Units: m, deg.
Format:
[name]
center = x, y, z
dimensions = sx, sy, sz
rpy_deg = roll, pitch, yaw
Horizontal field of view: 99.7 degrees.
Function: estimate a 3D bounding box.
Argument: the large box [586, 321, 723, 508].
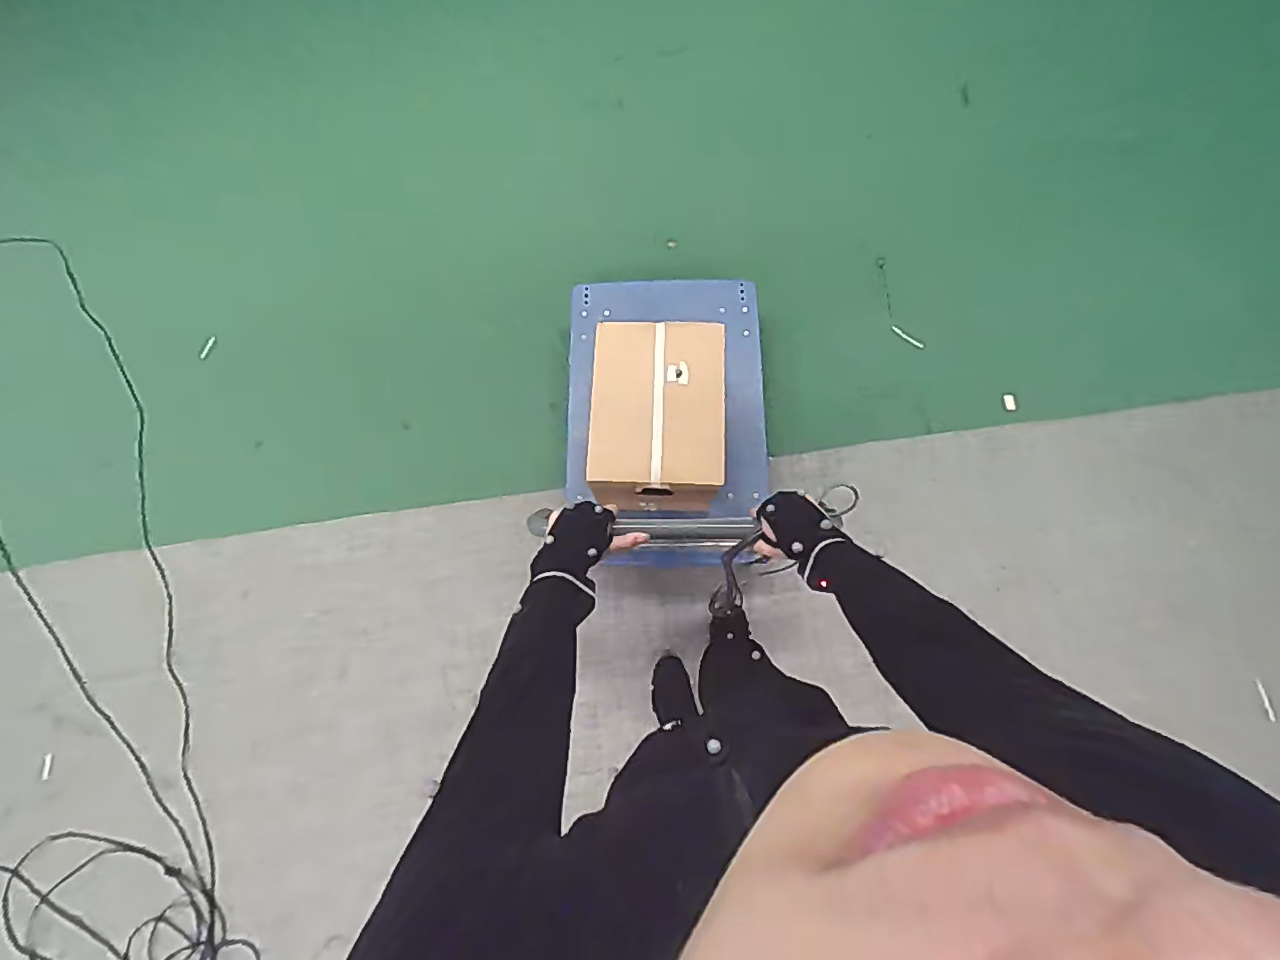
[large box]
center = 0.042, -0.152, 1.404
dimensions = 0.320, 0.320, 0.408
rpy_deg = 2, 75, 2
